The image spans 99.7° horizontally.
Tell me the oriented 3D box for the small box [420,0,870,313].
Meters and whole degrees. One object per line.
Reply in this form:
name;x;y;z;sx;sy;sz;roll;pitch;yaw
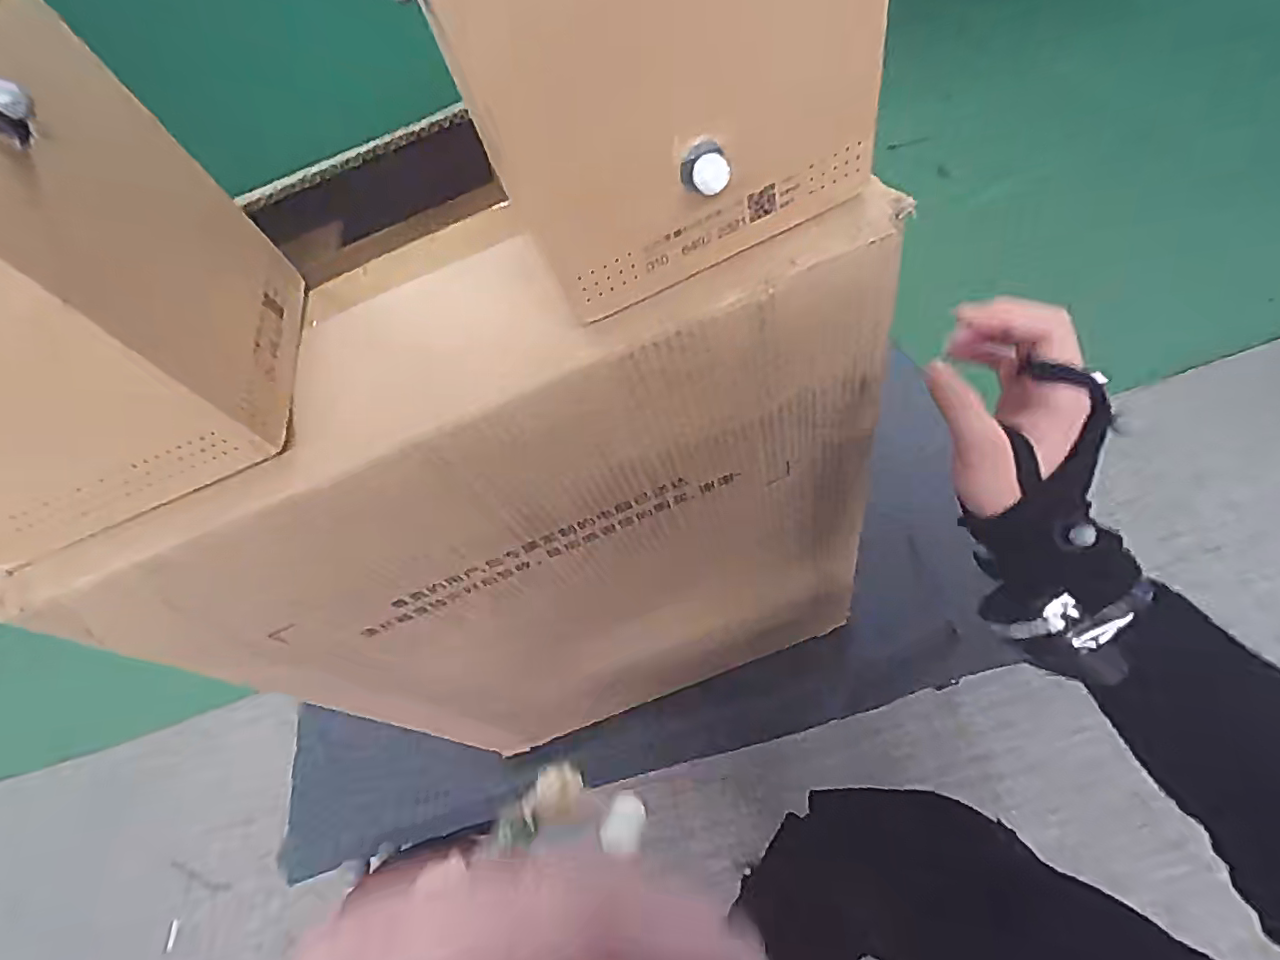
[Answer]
small box;-0.010;-0.217;0.265;0.168;0.176;0.179;-26;55;-1
